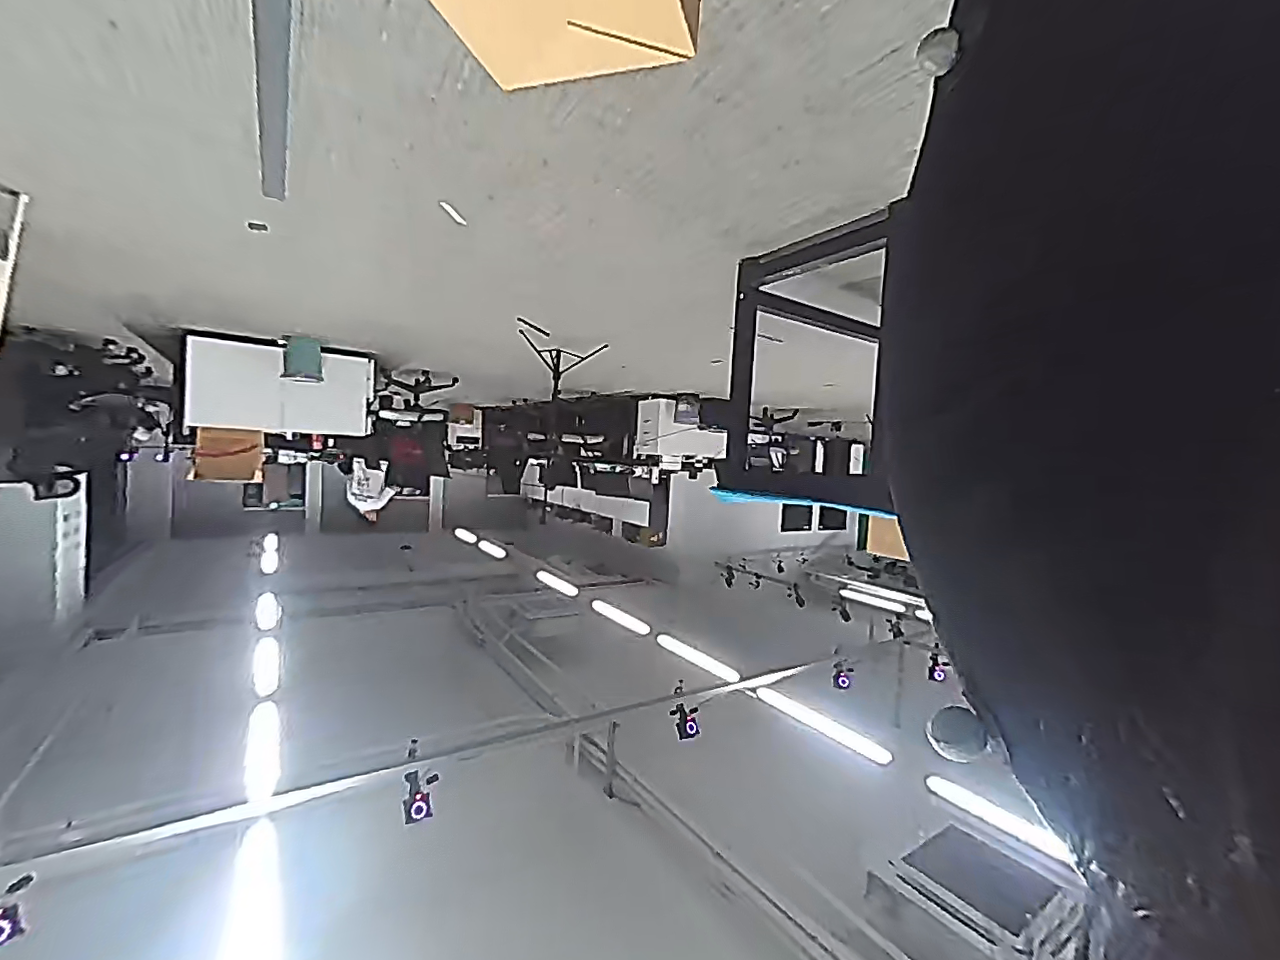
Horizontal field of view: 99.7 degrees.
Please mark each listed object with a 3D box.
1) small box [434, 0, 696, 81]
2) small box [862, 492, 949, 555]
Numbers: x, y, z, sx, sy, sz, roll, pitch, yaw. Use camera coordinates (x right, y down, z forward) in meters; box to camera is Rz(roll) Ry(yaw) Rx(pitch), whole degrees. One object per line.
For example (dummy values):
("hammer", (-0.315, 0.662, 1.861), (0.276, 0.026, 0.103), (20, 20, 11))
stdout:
("small box", (-0.057, -0.419, 0.373), (0.179, 0.176, 0.168), (4, -178, 18))
("small box", (0.793, 0.130, 1.623), (0.168, 0.176, 0.179), (1, -176, -34))
